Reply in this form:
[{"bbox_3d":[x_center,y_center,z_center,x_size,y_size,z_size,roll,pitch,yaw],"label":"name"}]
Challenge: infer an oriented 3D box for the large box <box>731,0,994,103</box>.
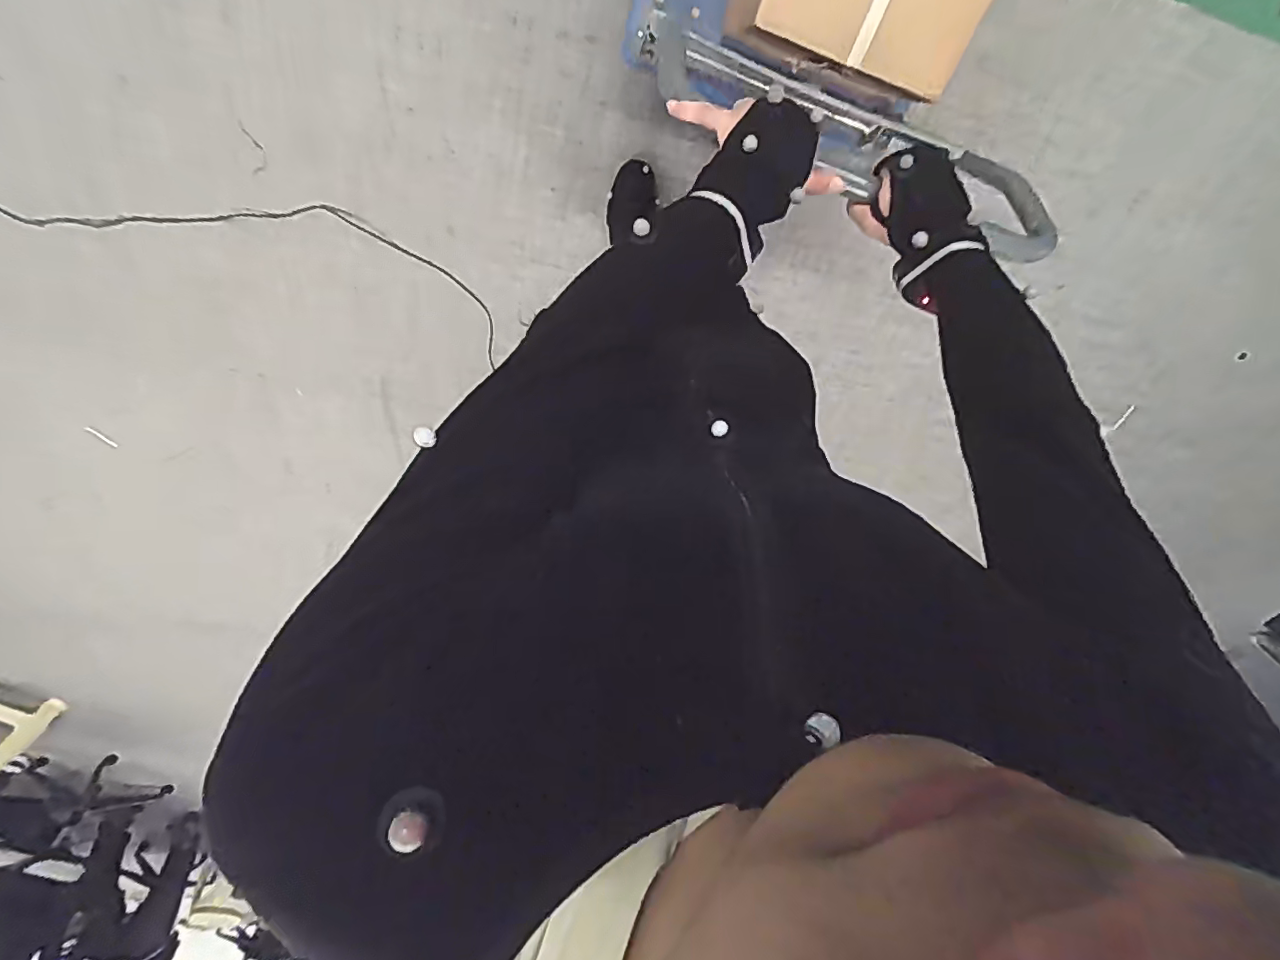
[{"bbox_3d":[0.366,-0.845,0.802,0.320,0.320,0.408,13,126,-12],"label":"large box"}]
